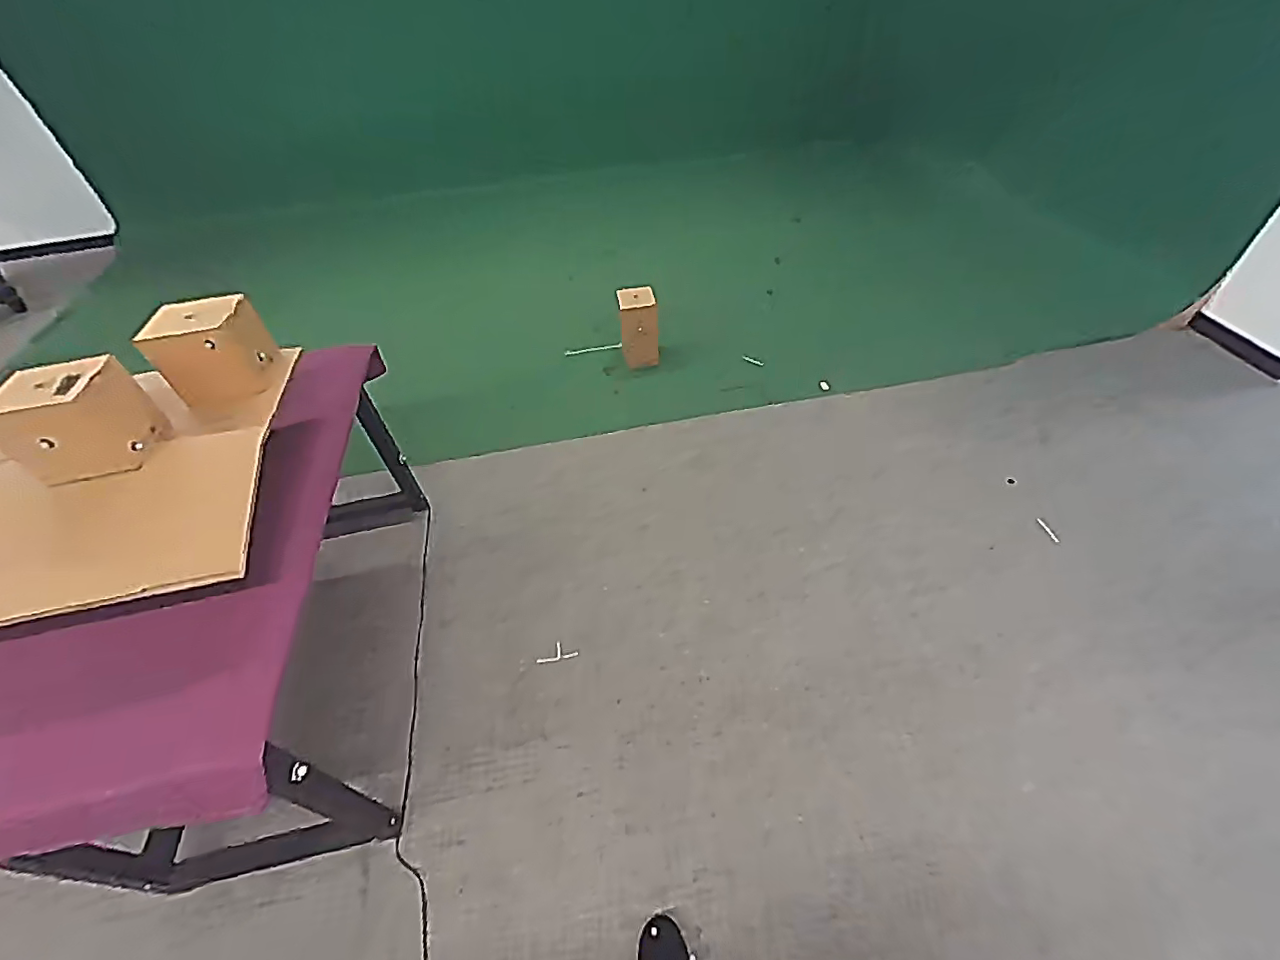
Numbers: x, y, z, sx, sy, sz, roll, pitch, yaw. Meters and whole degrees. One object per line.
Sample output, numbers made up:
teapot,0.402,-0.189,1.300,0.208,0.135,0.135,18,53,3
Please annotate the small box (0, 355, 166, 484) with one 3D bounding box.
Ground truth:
small box,-1.096,-0.116,1.059,0.179,0.176,0.168,-13,45,-6

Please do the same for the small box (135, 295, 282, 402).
small box,-0.964,-0.296,1.228,0.179,0.176,0.168,-12,45,-7

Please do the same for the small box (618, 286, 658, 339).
small box,-0.010,-0.796,2.570,0.168,0.176,0.179,-8,48,-2
